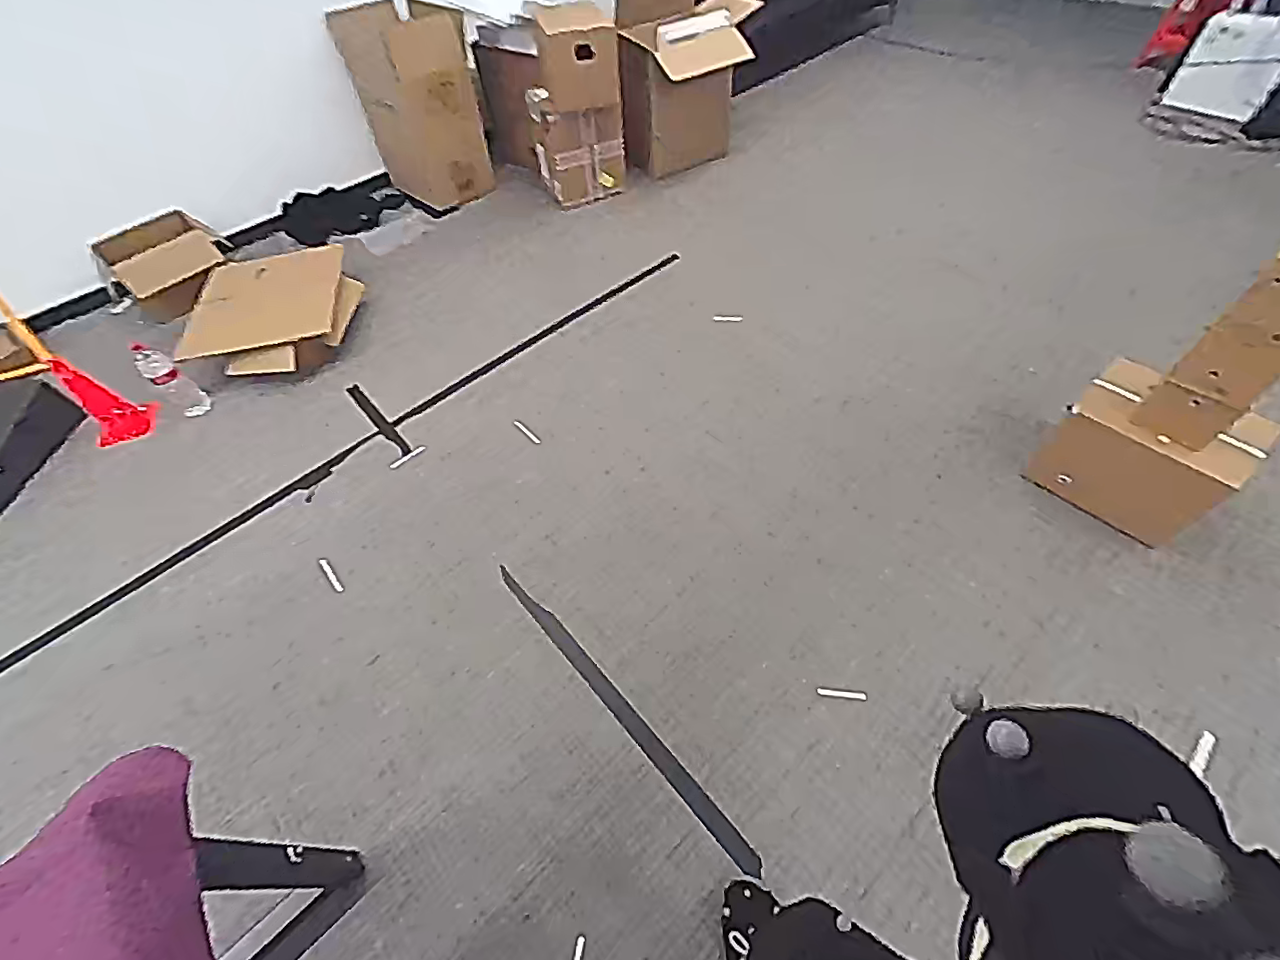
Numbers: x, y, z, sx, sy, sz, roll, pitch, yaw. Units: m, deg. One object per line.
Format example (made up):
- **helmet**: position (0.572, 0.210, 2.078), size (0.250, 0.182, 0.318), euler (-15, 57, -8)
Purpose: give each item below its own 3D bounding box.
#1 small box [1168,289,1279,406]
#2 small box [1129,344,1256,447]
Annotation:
- **small box**: position (1.419, -0.311, 1.277), size (0.179, 0.176, 0.168), euler (-40, 59, -20)
- **small box**: position (1.441, -0.217, 1.408), size (0.168, 0.176, 0.179), euler (-40, 60, -21)
